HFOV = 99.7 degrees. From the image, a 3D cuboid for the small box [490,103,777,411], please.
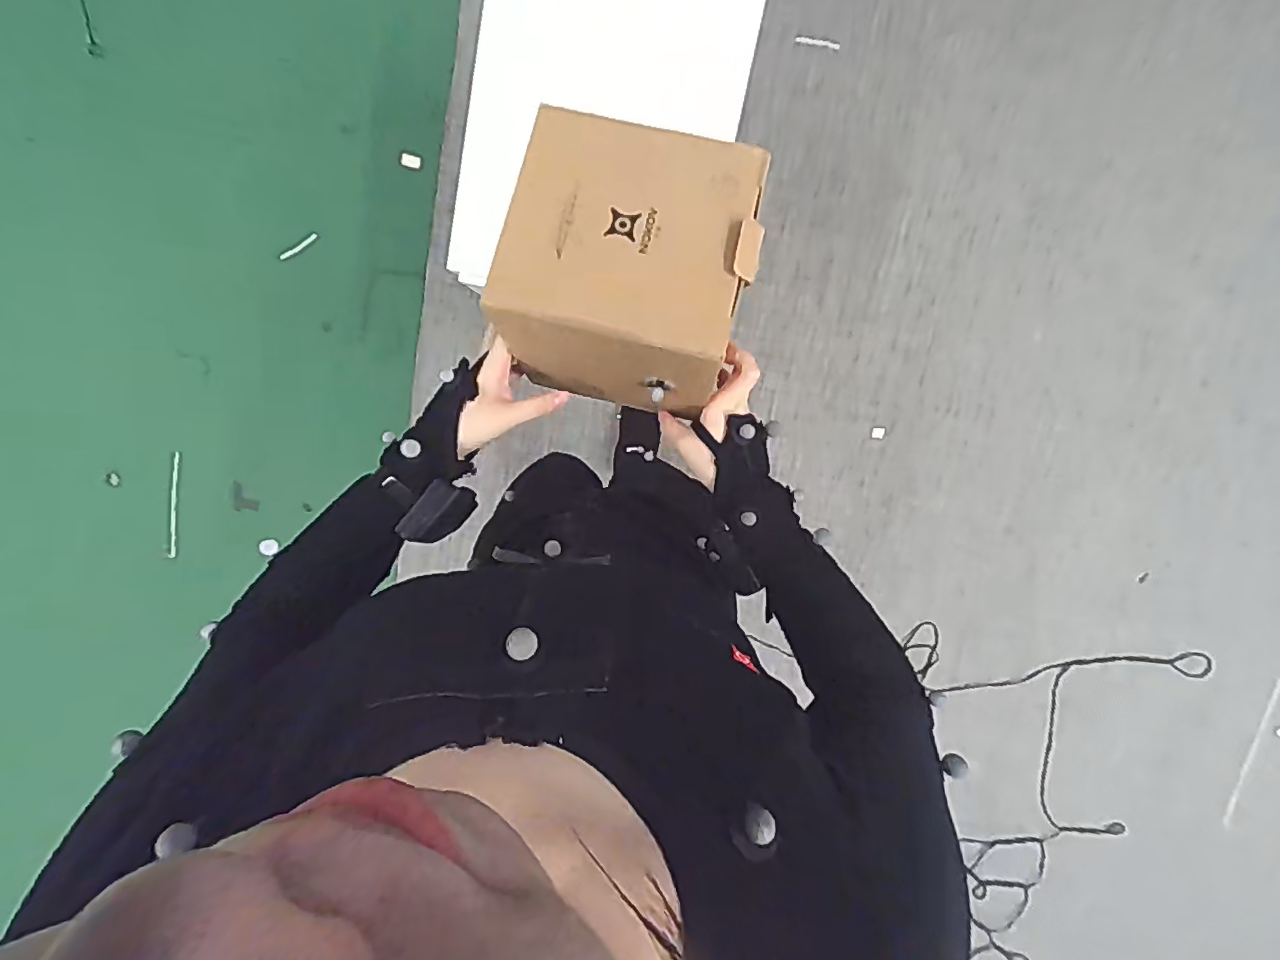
[{"bbox_3d":[-0.001,-0.168,0.461,0.179,0.176,0.168,13,81,3],"label":"small box"}]
